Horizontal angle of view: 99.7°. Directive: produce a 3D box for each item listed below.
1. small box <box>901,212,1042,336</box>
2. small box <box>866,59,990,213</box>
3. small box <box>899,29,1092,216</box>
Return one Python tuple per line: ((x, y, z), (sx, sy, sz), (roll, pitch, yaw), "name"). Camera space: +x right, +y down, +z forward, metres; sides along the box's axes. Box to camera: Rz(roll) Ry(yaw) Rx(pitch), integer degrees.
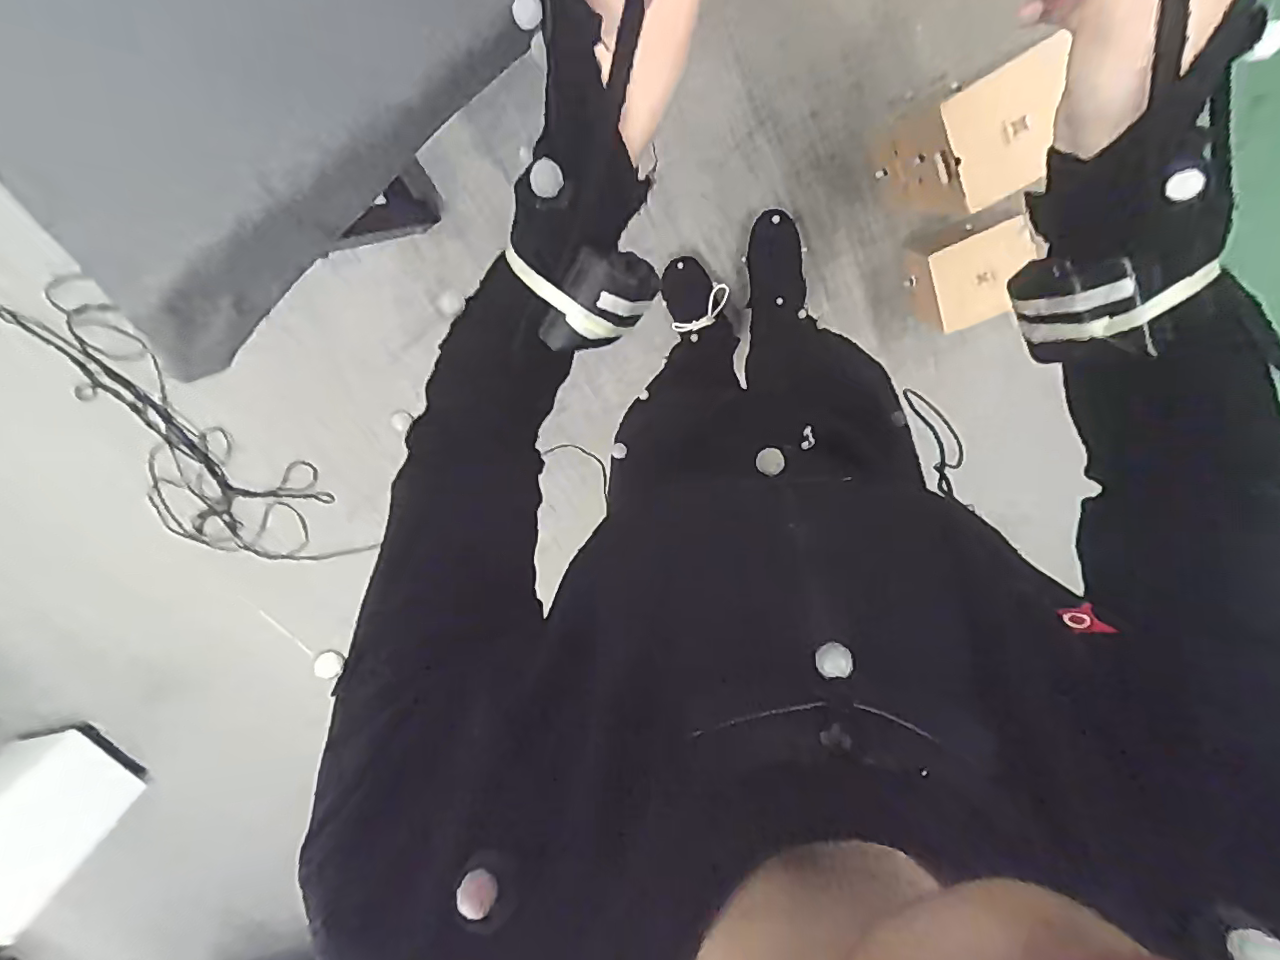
((0.657, -0.419, 1.086), (0.179, 0.176, 0.168), (-22, 113, 18), "small box")
((0.535, -0.613, 0.990), (0.179, 0.176, 0.168), (-25, 112, 17), "small box")
((0.540, -0.541, 0.841), (0.179, 0.176, 0.168), (-27, 113, 18), "small box")
